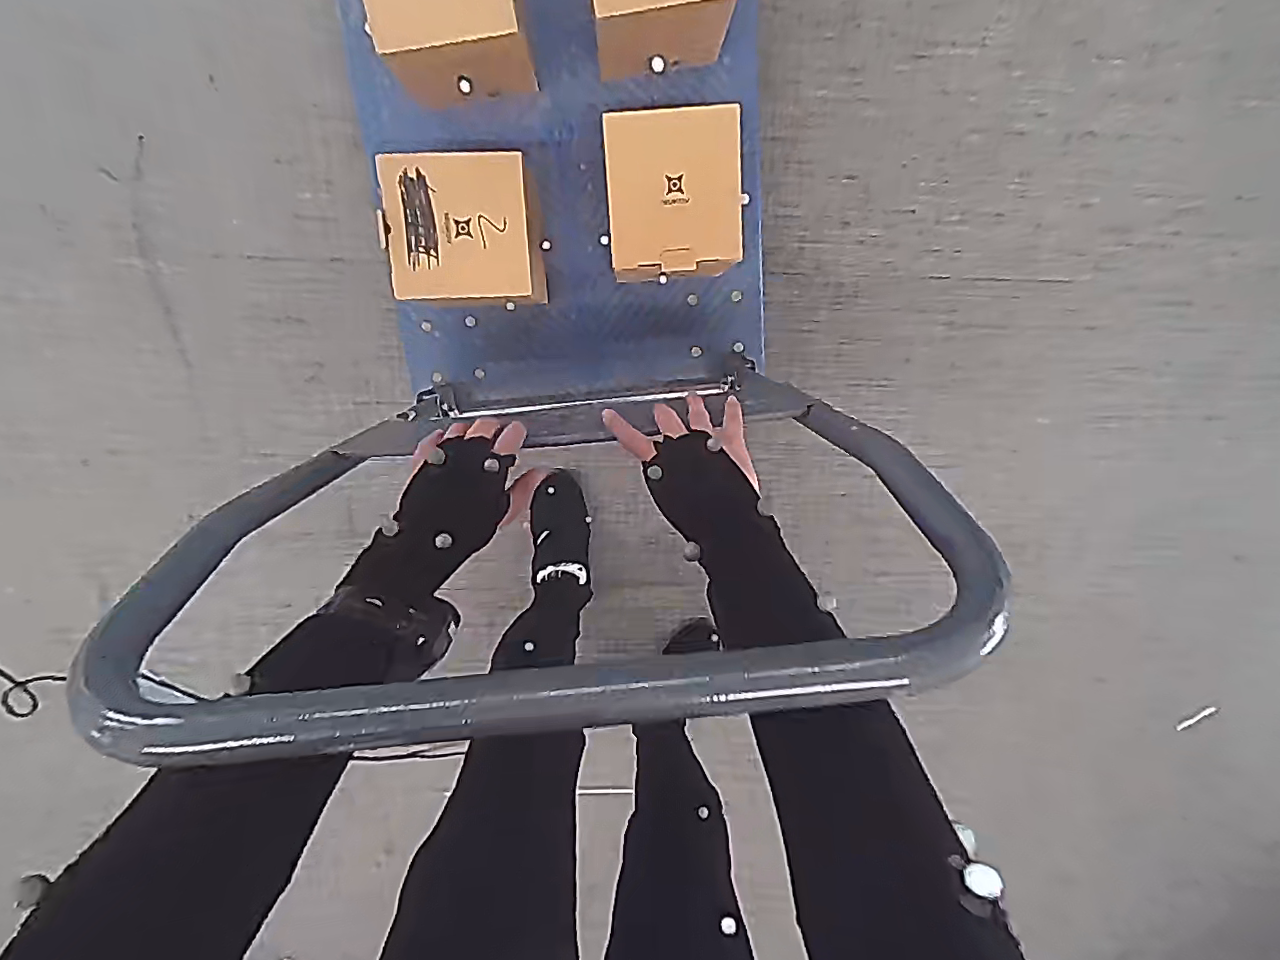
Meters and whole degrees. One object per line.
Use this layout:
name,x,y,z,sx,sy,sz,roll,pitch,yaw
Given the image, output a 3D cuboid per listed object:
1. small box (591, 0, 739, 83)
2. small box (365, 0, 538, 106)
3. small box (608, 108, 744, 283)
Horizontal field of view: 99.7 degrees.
small box,0.019,-0.632,0.664,0.168,0.176,0.179,-8,106,2
small box,-0.230,-0.593,0.668,0.168,0.176,0.179,-8,105,0
small box,0.043,-0.373,0.737,0.168,0.176,0.179,-4,106,0
